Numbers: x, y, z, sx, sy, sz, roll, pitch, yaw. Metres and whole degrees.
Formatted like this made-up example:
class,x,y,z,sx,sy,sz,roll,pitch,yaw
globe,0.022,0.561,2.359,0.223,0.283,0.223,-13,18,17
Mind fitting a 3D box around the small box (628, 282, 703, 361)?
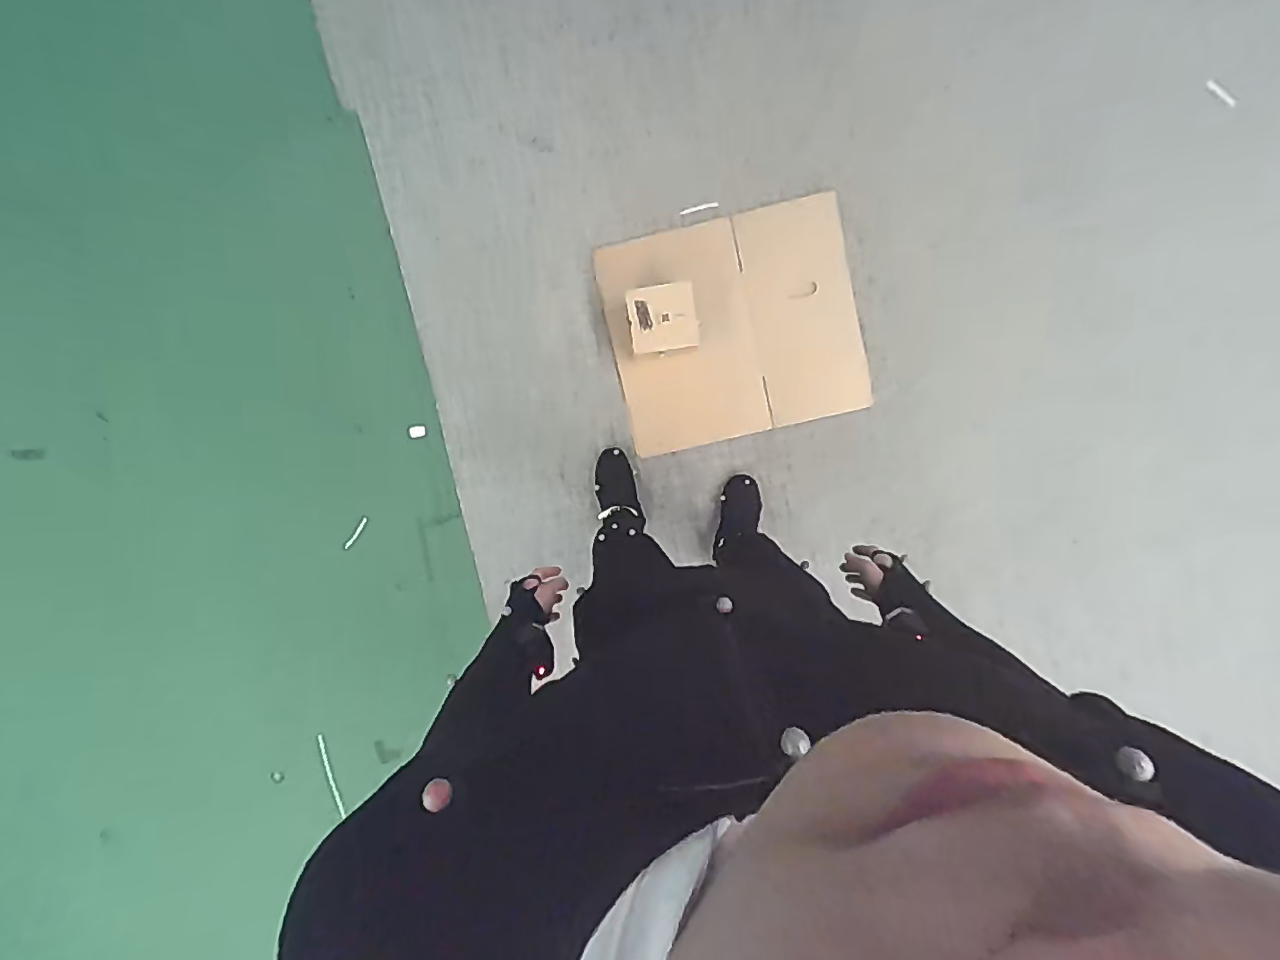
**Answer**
class,x,y,z,sx,sy,sz,roll,pitch,yaw
small box,0.070,-0.422,1.465,0.179,0.176,0.168,-8,96,3
